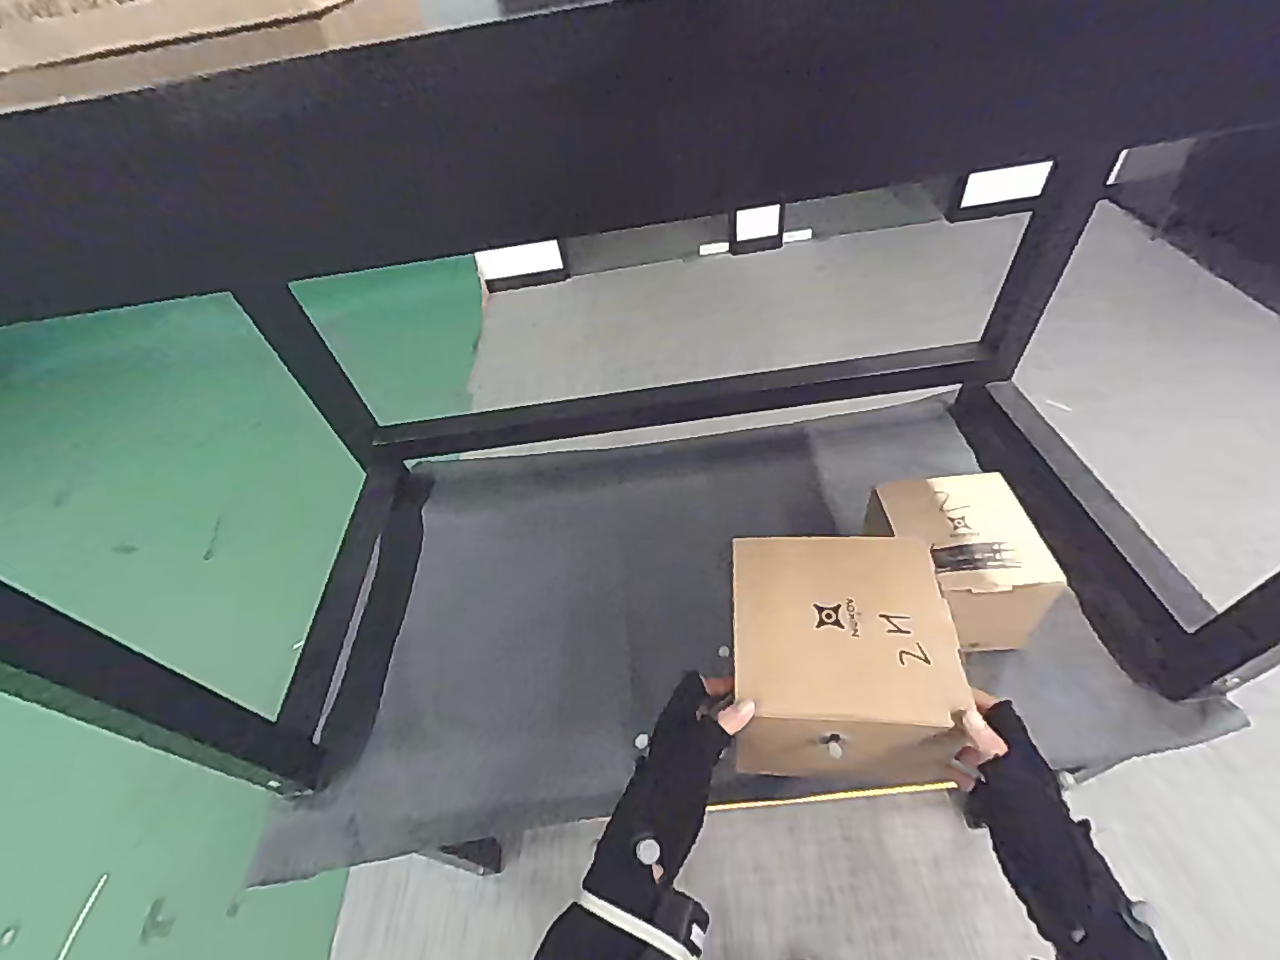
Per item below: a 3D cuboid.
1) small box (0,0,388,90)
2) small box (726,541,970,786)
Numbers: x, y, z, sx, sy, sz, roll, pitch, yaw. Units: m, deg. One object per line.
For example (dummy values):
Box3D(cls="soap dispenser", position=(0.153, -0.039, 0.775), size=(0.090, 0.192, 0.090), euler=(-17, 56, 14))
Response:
Box3D(cls="small box", position=(-0.222, -0.276, 0.212), size=(0.168, 0.176, 0.179), euler=(-8, 47, 2))
Box3D(cls="small box", position=(0.173, 0.174, 0.512), size=(0.179, 0.176, 0.168), euler=(0, 49, 10))
